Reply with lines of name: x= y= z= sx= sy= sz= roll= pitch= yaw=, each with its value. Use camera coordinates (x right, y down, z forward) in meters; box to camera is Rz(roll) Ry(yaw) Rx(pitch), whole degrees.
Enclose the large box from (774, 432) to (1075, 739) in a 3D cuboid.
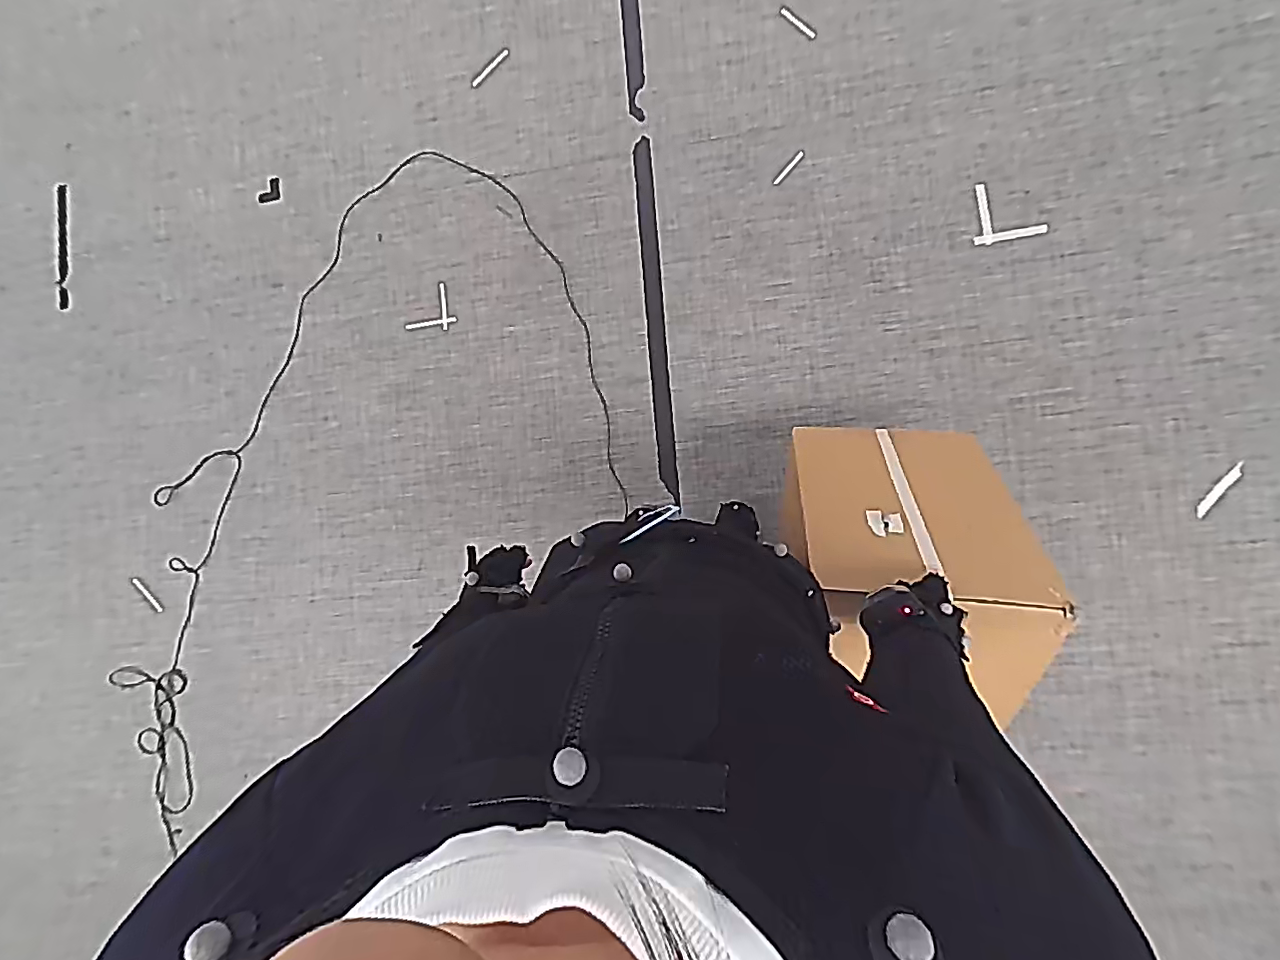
large box: x=0.412 y=0.157 z=0.922 sx=0.320 sy=0.408 sz=0.320 roll=3 pitch=128 yaw=9
